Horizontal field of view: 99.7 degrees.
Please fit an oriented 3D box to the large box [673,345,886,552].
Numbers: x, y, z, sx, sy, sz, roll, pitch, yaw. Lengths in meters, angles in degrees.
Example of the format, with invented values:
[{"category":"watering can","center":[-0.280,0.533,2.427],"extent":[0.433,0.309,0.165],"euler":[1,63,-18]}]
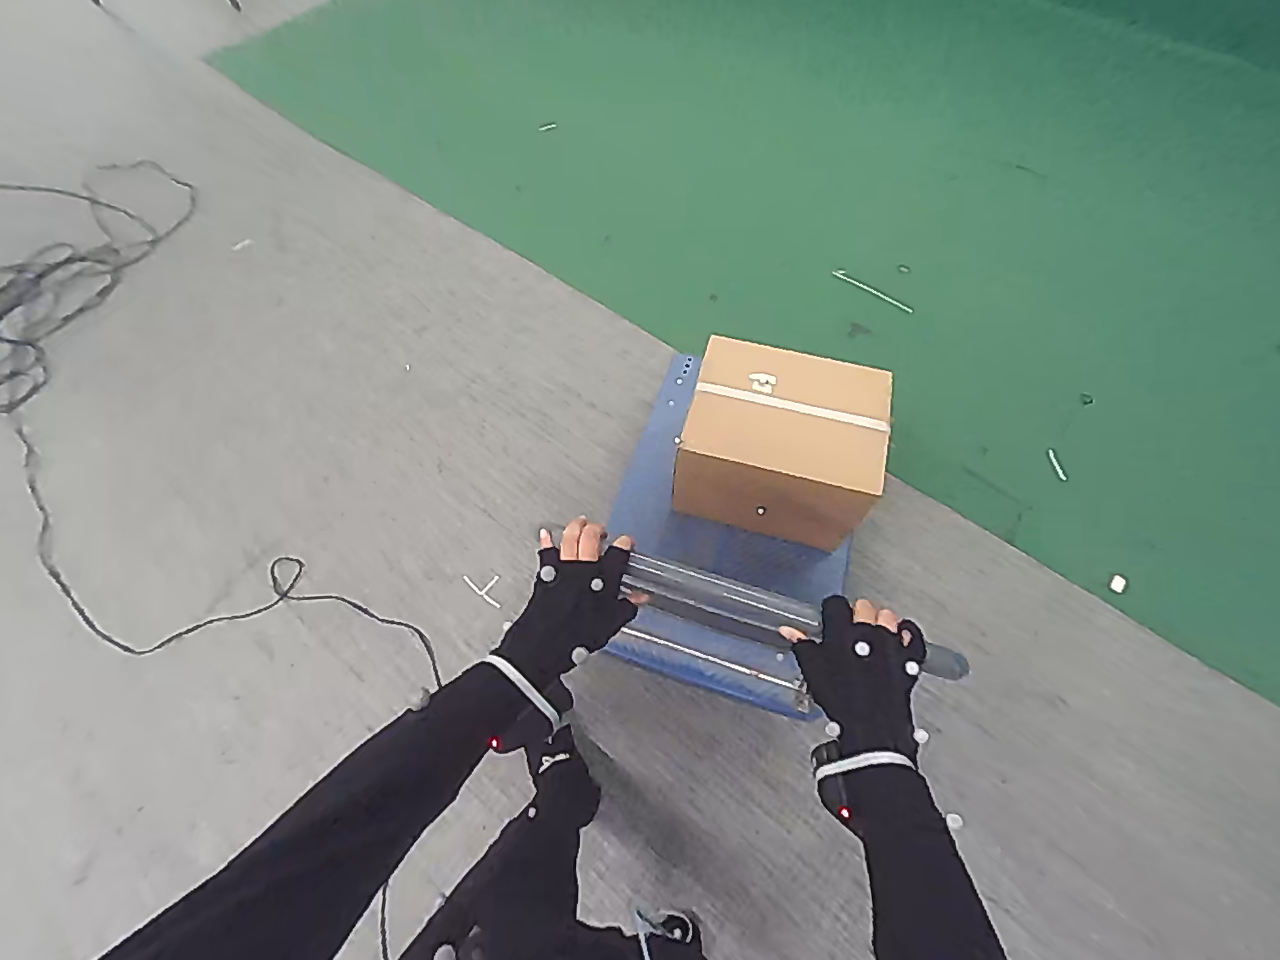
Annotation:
[{"category":"large box","center":[0.308,-0.064,1.262],"extent":[0.408,0.320,0.320],"euler":[14,62,9]}]
